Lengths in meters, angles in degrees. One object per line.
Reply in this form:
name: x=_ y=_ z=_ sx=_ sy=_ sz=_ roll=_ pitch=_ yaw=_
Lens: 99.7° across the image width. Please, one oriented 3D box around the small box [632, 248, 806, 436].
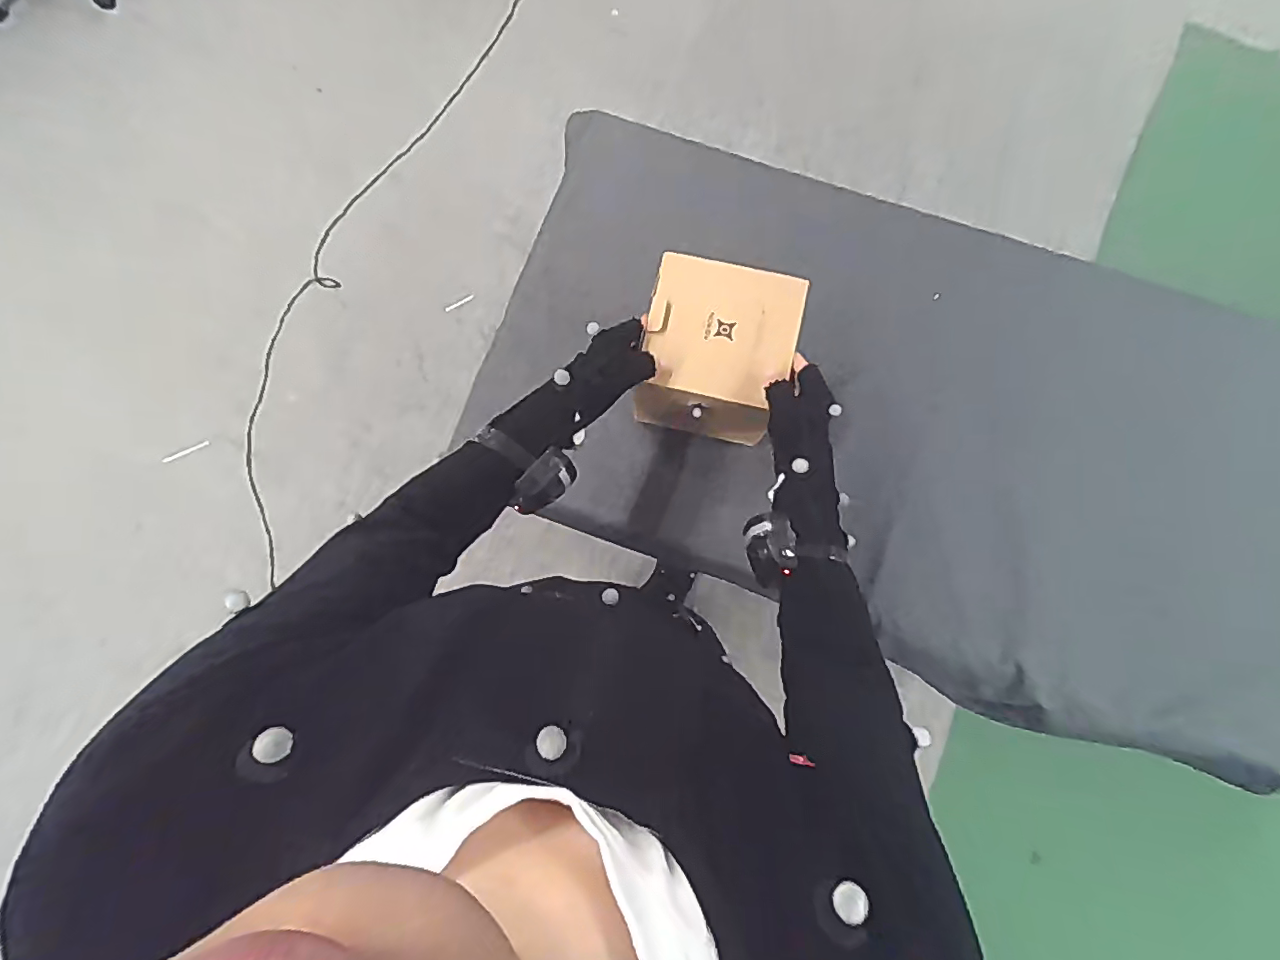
small box: x=0.092 y=-0.165 z=0.701 sx=0.179 sy=0.176 sz=0.168 roll=13 pitch=82 yaw=1
